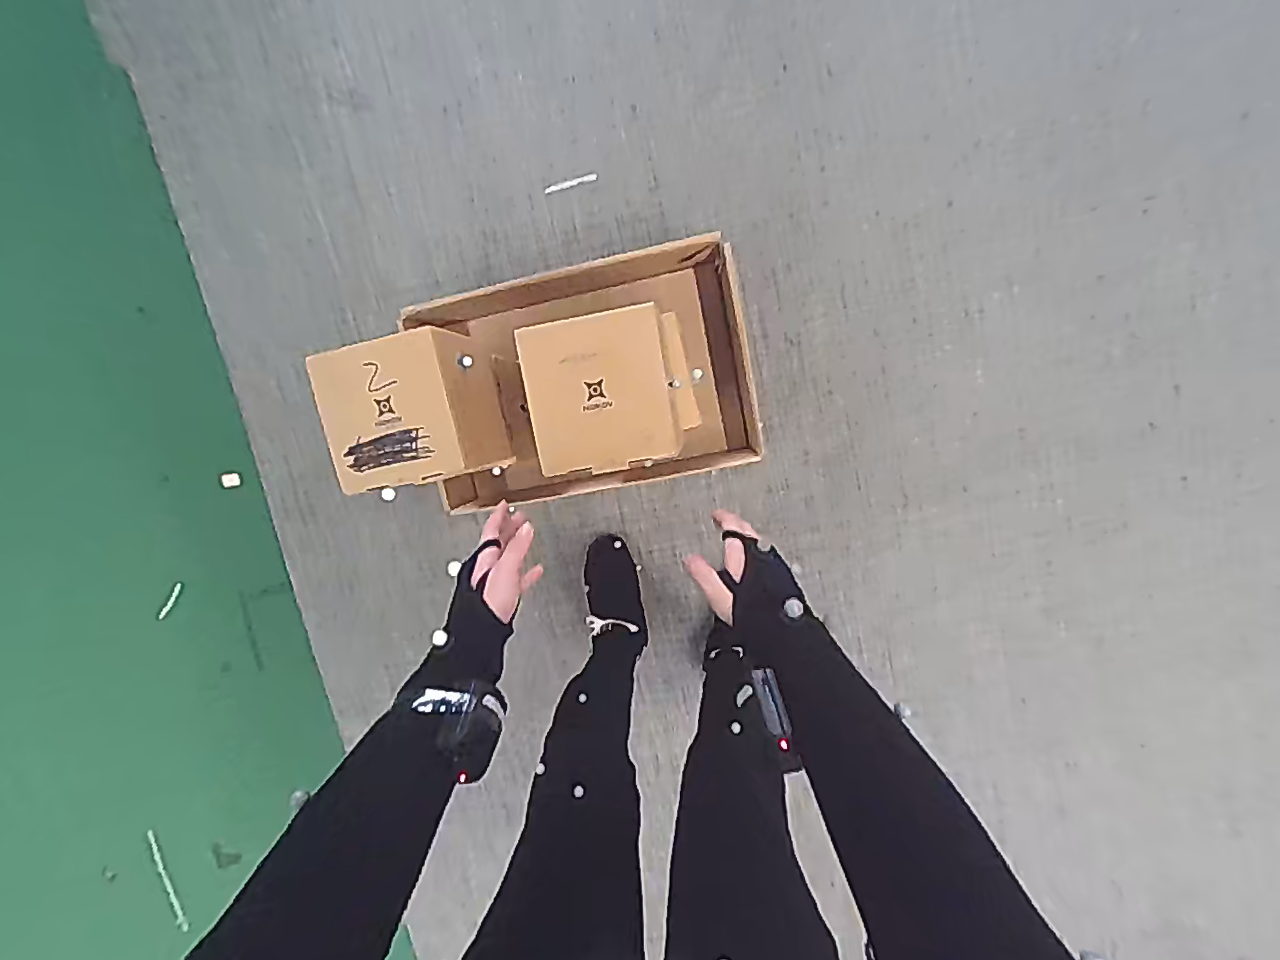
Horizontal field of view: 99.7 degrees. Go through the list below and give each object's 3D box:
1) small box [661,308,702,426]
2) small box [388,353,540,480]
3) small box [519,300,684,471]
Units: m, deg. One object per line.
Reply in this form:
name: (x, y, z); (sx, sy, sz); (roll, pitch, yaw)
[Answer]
small box: (-0.003, -0.155, 0.851); (0.179, 0.176, 0.168); (-13, 98, 8)
small box: (-0.272, -0.105, 0.888); (0.179, 0.176, 0.168); (-12, 96, 6)
small box: (-0.037, -0.118, 0.695); (0.168, 0.176, 0.179); (-8, 98, 7)
